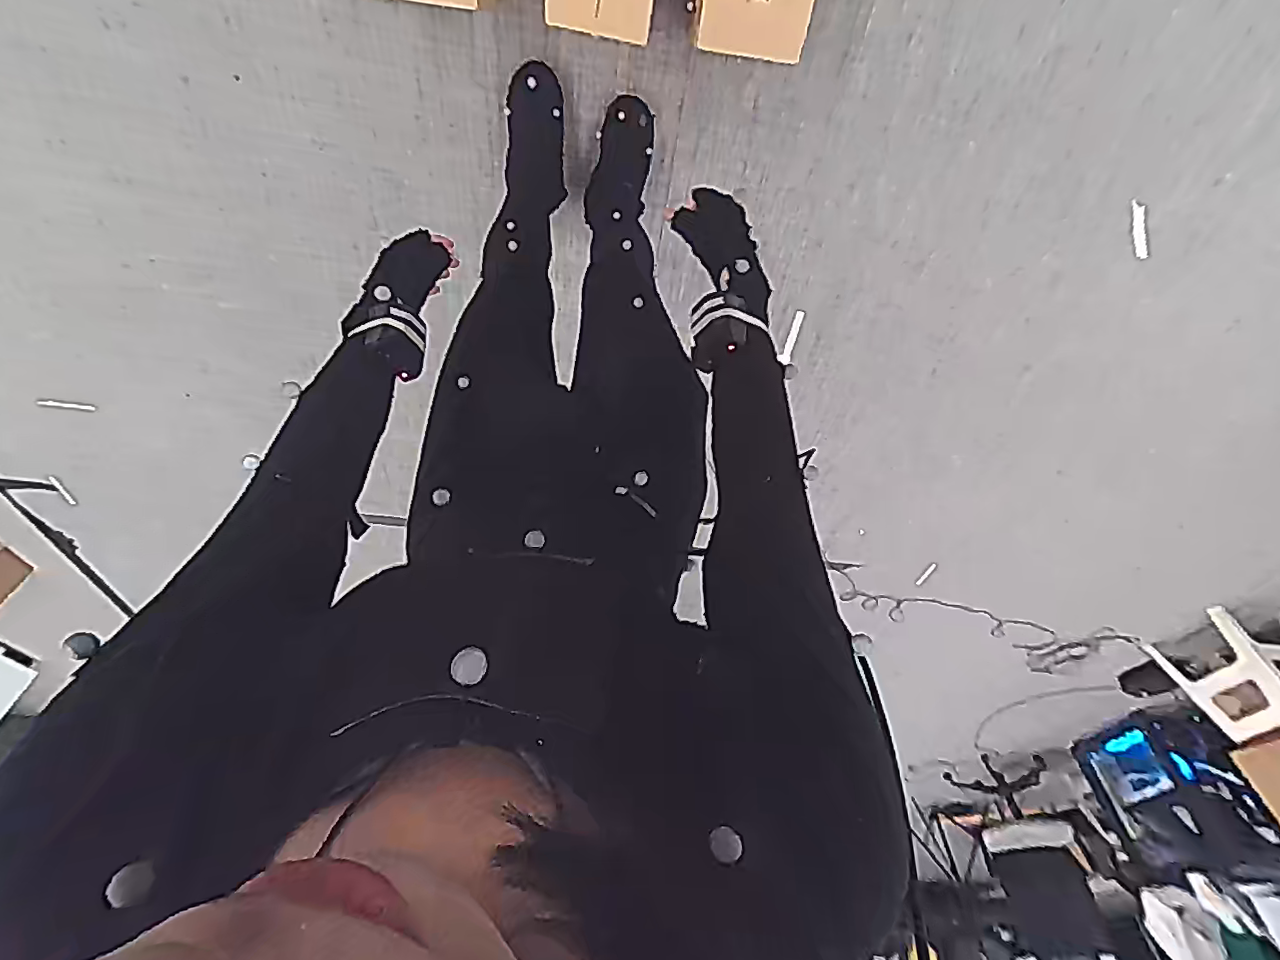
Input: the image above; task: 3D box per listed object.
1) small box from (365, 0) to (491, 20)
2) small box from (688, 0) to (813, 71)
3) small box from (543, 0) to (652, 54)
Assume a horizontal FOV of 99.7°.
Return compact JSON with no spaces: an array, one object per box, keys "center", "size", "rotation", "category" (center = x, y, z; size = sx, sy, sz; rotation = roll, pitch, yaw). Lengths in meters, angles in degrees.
[{"center":[-0.330,-0.843,0.840],"size":[0.179,0.176,0.168],"rotation":[4,135,-5],"category":"small box"},{"center":[0.179,-0.797,0.886],"size":[0.179,0.176,0.168],"rotation":[4,136,-6],"category":"small box"},{"center":[-0.058,-0.818,0.863],"size":[0.168,0.176,0.179],"rotation":[7,135,-7],"category":"small box"}]
